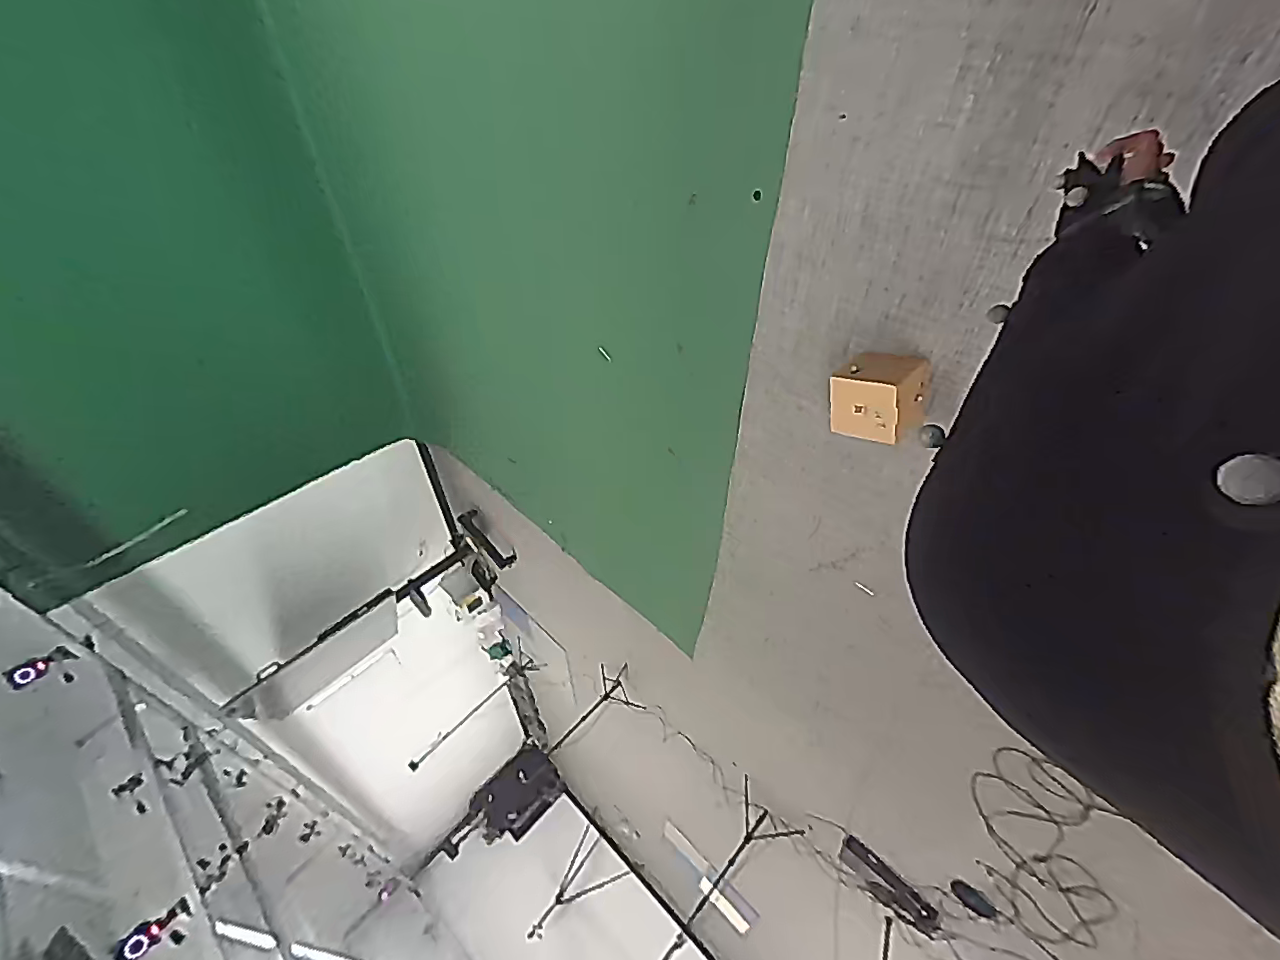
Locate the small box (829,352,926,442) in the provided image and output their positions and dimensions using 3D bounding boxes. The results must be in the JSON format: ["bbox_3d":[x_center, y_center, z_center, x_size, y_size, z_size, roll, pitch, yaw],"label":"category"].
[{"bbox_3d":[0.616,-0.223,1.409,0.179,0.176,0.168,21,135,42],"label":"small box"}]
